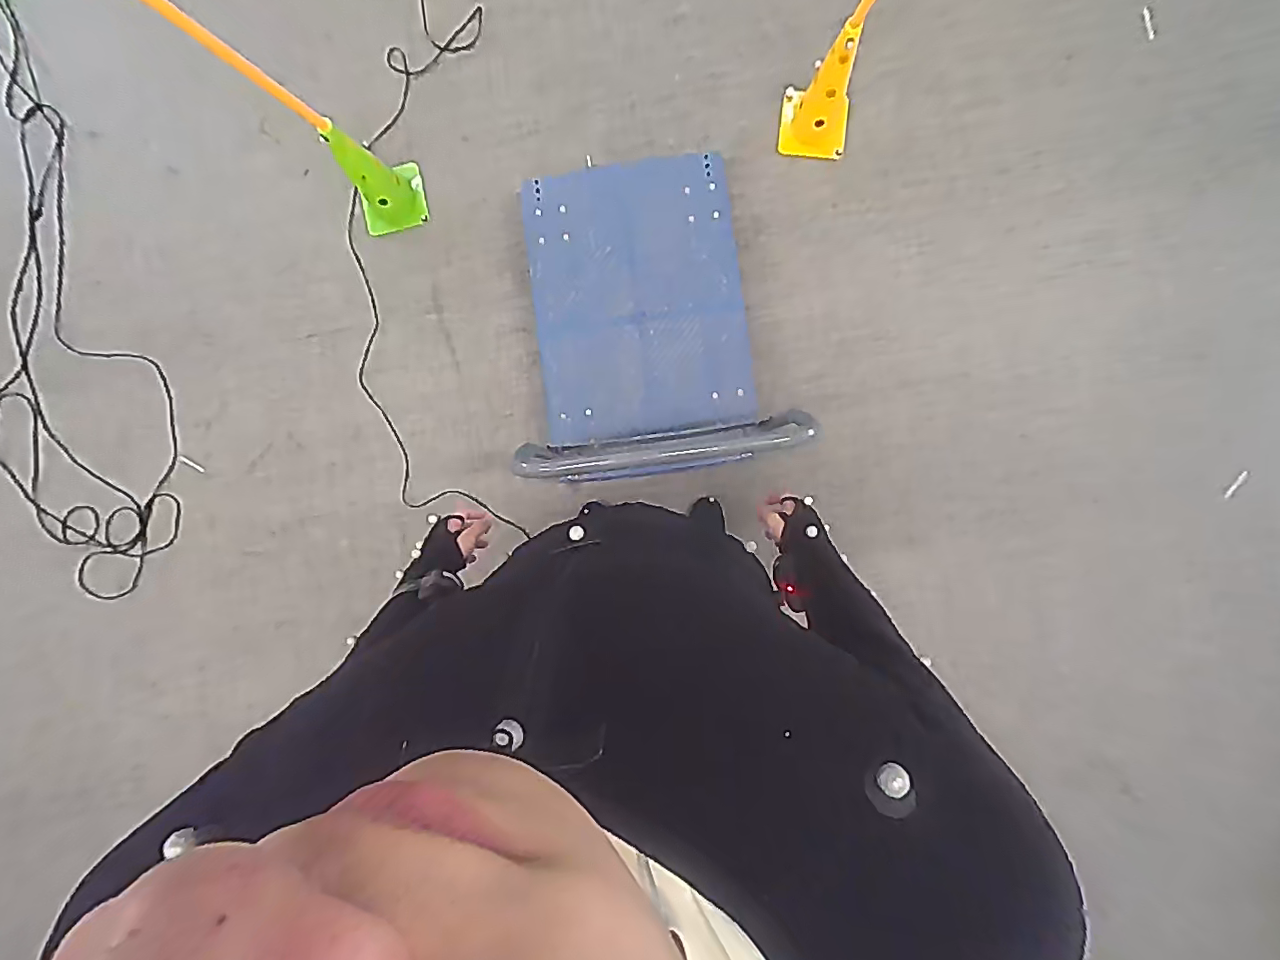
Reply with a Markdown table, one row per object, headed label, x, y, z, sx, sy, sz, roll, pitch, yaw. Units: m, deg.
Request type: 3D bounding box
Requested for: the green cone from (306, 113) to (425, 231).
| label | x | y | z | sx | sy | sz | roll | pitch | yaw |
| --- | --- | --- | --- | --- | --- | --- | --- | --- | --- |
| green cone | -0.800 | -0.904 | 1.530 | 0.202 | 0.368 | 0.200 | -14 | 88 | 4 |
